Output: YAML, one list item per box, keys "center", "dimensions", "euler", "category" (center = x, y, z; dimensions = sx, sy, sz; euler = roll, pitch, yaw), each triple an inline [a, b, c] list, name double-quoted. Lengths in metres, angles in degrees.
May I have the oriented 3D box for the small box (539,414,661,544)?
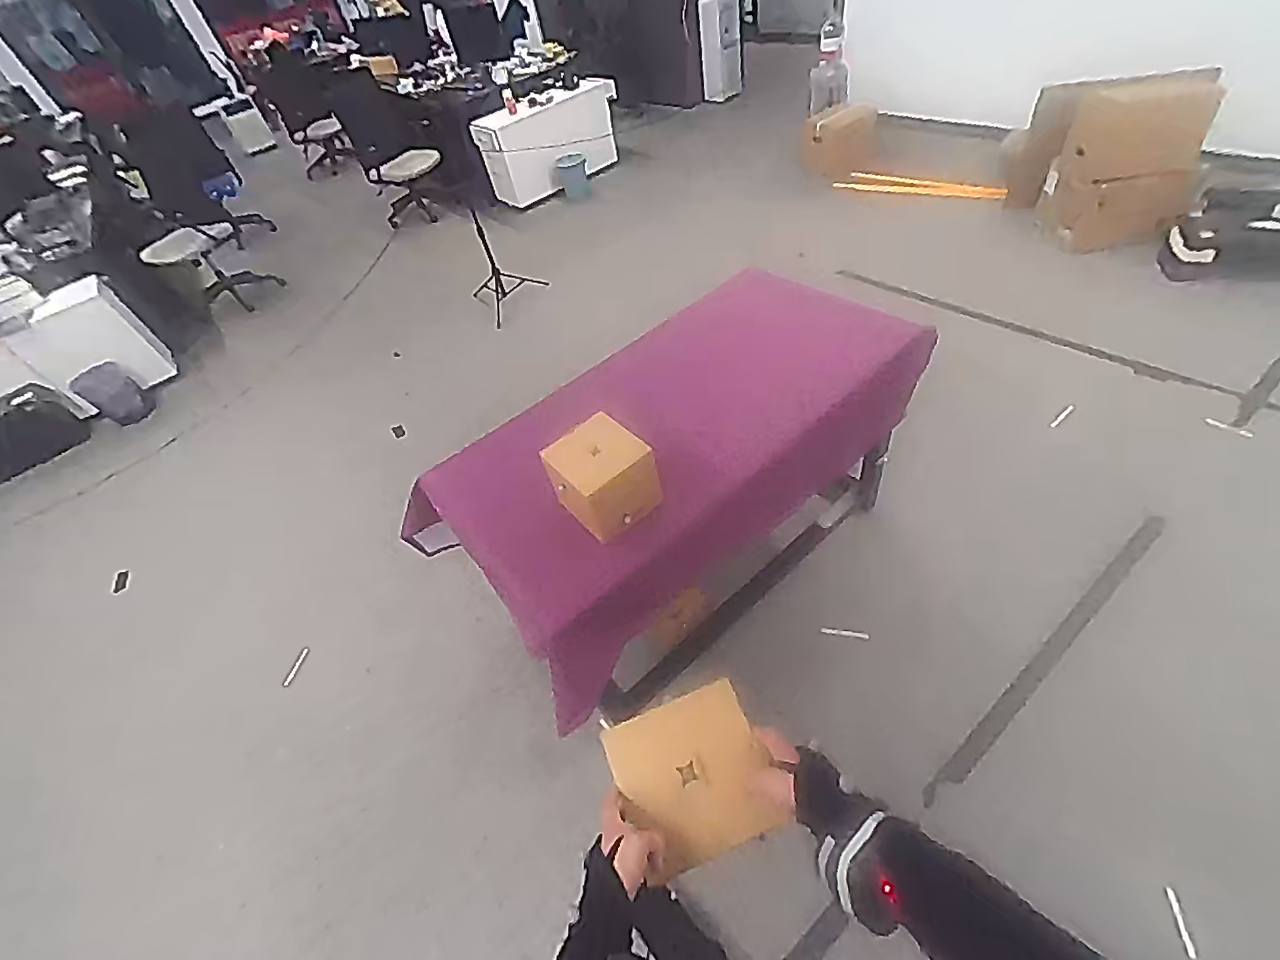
- center: [-0.079, 0.000, 1.123]
  dimensions: [0.168, 0.176, 0.179]
  euler: [-37, 51, -17]
  category: "small box"

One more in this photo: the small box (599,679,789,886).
- center: [0.066, 0.385, 0.685]
  dimensions: [0.179, 0.176, 0.168]
  euler: [-21, 55, -8]
  category: "small box"
